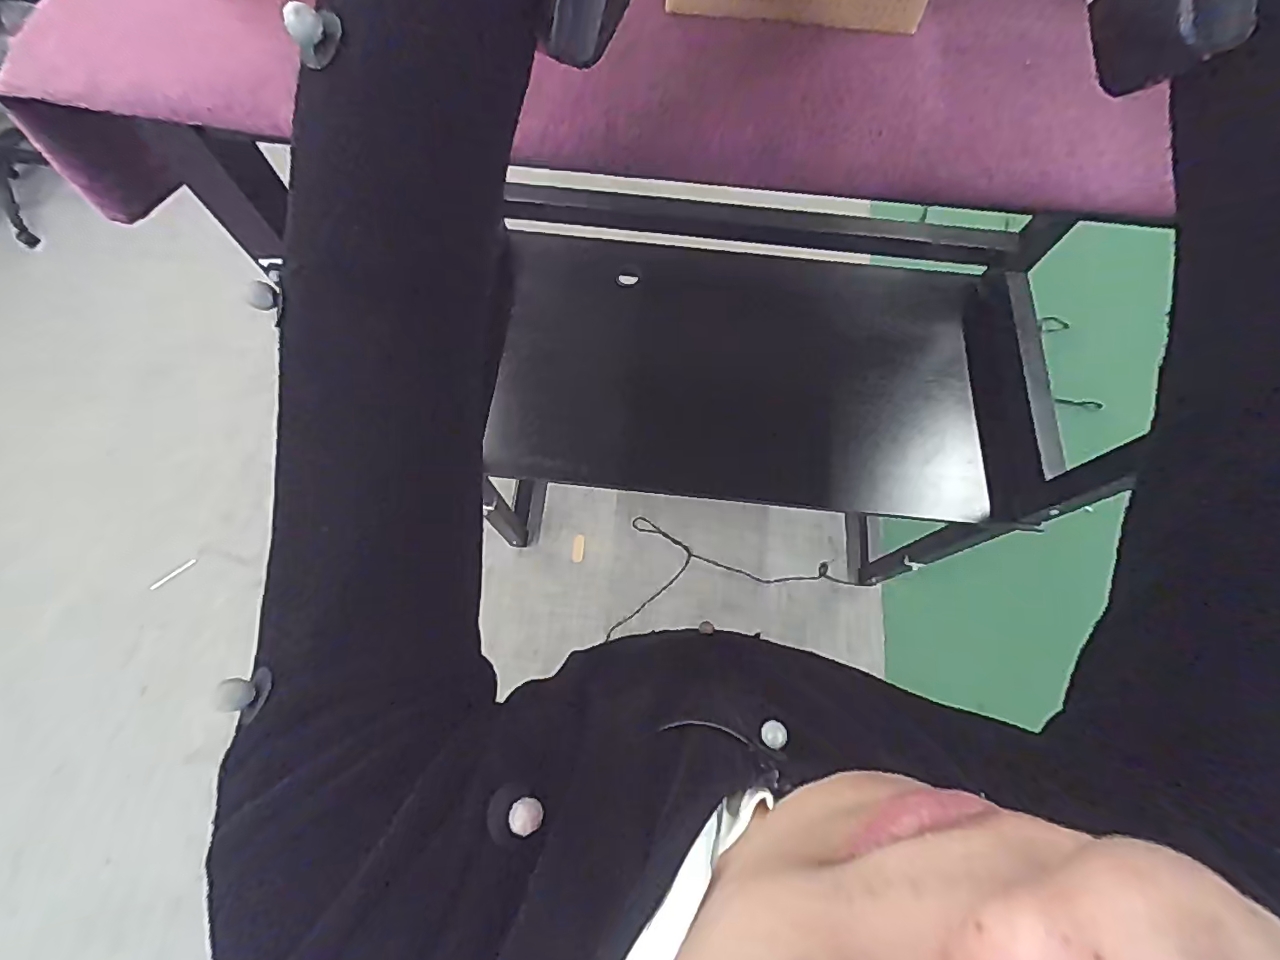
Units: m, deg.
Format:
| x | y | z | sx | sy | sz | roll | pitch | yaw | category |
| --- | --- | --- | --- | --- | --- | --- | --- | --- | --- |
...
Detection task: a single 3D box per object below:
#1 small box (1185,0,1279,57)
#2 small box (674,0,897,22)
| x | y | z | sx | sy | sz | roll | pitch | yaw | category |
| --- | --- | --- | --- | --- | --- | --- | --- | --- | --- |
| 0.482 | -0.382 | 0.320 | 0.179 | 0.176 | 0.168 | 7 | 67 | 1 | small box |
| 0.112 | -0.425 | 0.329 | 0.179 | 0.176 | 0.168 | 6 | 68 | 2 | small box |
